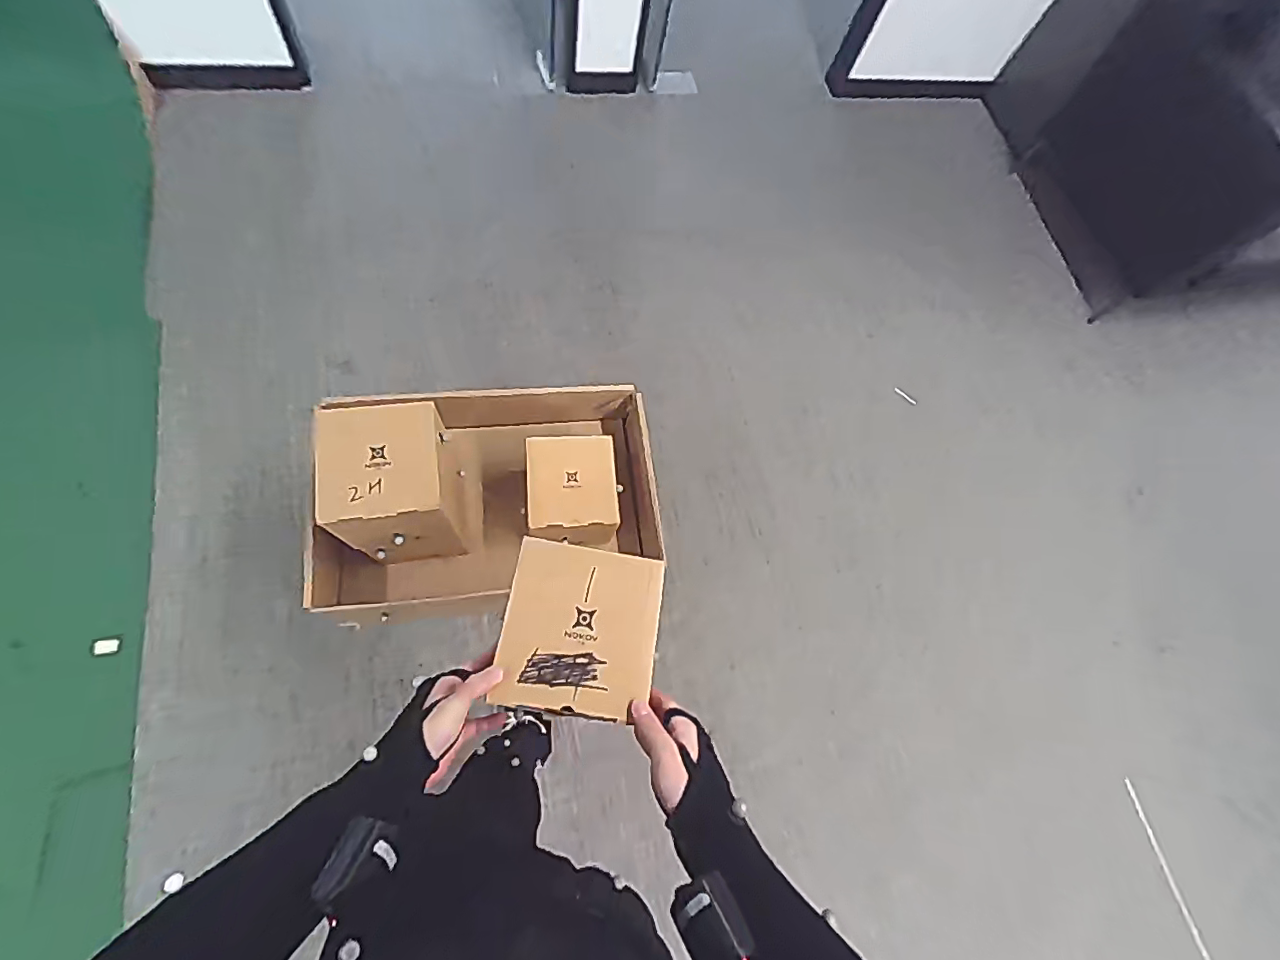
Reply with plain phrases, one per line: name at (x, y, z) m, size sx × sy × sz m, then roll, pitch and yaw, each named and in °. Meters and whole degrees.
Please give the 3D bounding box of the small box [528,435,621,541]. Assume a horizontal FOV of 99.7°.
small box at (-0.137, 0.024, 1.069) m, size 0.168 × 0.176 × 0.179 m, roll -2°, pitch 72°, yaw -12°

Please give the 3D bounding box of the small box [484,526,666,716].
small box at (-0.076, 0.176, 0.648) m, size 0.168 × 0.176 × 0.179 m, roll 12°, pitch 65°, yaw -6°

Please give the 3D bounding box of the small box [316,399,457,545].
small box at (-0.389, -0.008, 0.854) m, size 0.168 × 0.176 × 0.179 m, roll -6°, pitch 72°, yaw -12°
